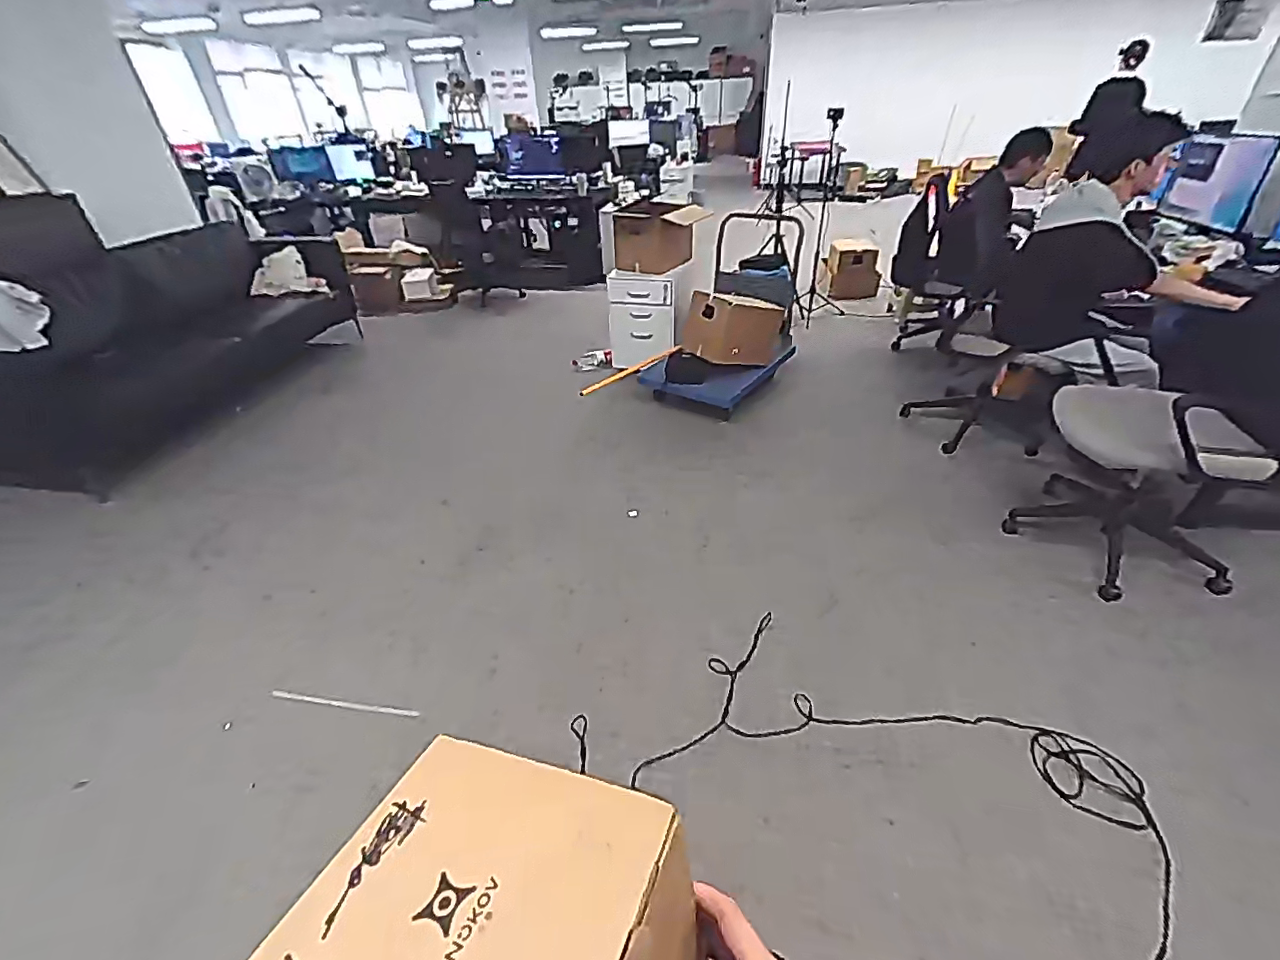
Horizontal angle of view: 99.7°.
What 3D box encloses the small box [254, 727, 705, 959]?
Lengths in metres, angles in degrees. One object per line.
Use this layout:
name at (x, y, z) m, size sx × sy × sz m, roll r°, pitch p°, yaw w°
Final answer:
small box at (-0.070, 0.281, 0.300) m, size 0.179 × 0.176 × 0.168 m, roll 4°, pitch 27°, yaw 26°
